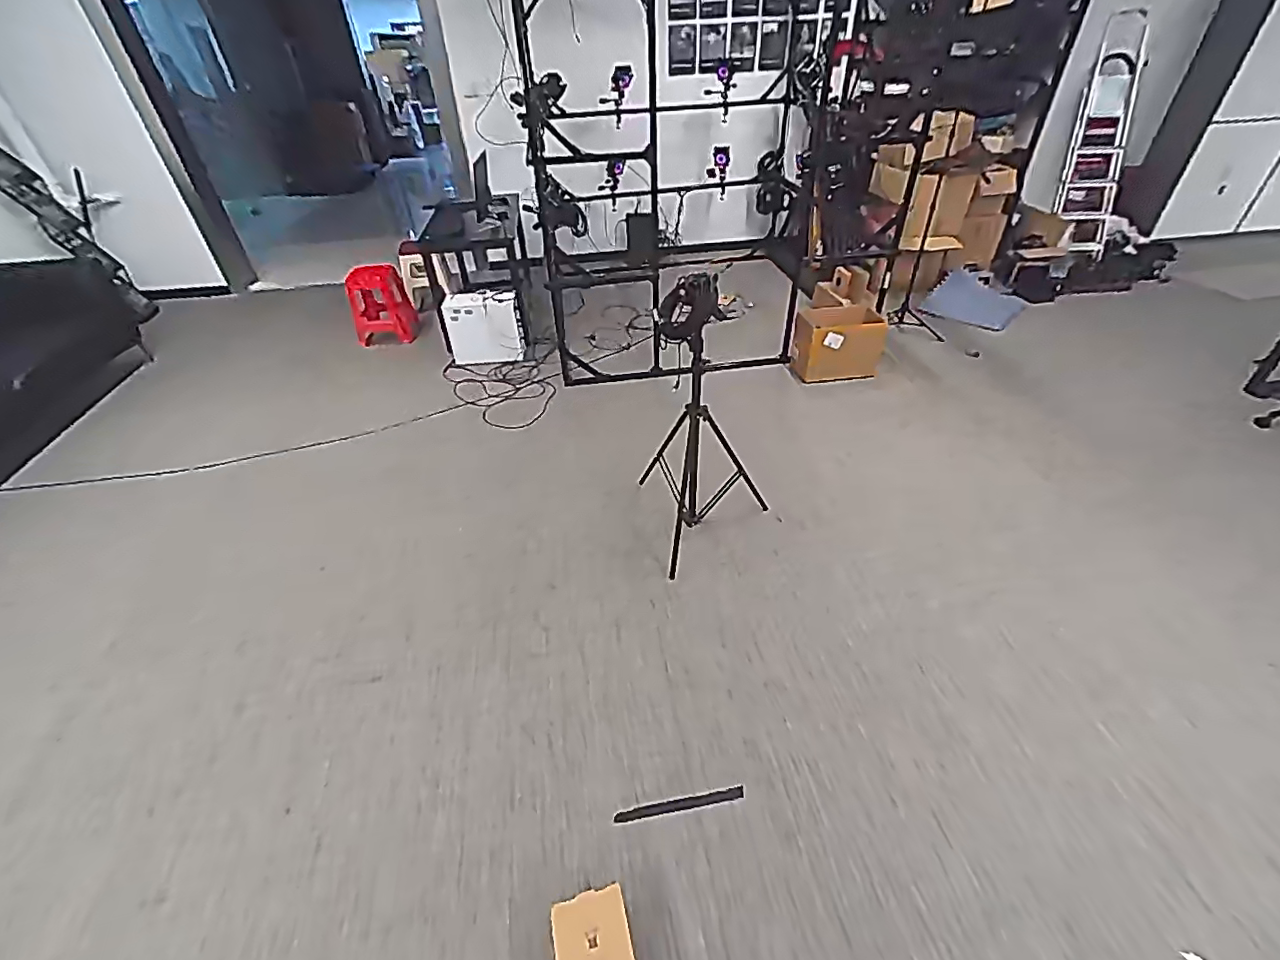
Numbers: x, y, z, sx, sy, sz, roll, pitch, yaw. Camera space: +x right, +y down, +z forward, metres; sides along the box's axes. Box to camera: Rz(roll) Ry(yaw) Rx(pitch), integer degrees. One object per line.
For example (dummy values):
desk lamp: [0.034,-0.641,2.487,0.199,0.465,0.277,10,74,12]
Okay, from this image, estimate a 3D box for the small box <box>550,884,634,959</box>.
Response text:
small box: [-0.103,1.063,1.224,0.168,0.176,0.179,-11,40,-10]
